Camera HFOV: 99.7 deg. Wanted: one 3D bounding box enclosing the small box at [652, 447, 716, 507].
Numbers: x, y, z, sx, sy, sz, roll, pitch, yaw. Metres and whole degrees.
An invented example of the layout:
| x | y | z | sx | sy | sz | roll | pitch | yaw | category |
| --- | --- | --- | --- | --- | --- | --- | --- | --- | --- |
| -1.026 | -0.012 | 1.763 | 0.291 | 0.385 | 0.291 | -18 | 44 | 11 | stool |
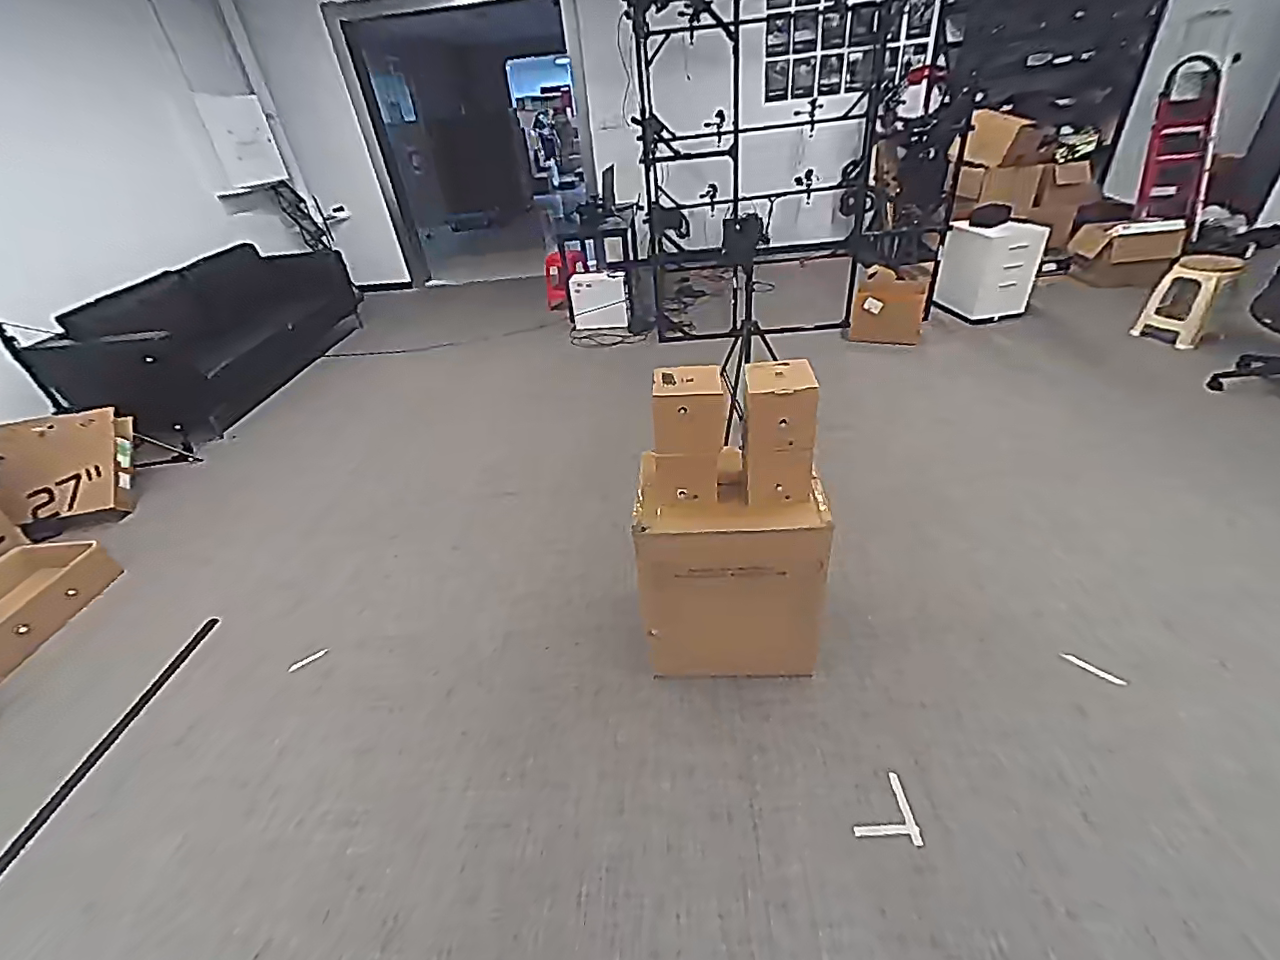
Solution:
| x | y | z | sx | sy | sz | roll | pitch | yaw | category |
| --- | --- | --- | --- | --- | --- | --- | --- | --- | --- |
| 0.125 | -0.043 | 1.520 | 0.168 | 0.176 | 0.179 | -4 | 36 | 5 | small box |

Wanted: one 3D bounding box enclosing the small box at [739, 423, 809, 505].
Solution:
| x | y | z | sx | sy | sz | roll | pitch | yaw | category |
| --- | --- | --- | --- | --- | --- | --- | --- | --- | --- |
| 0.361 | -0.050 | 1.485 | 0.168 | 0.176 | 0.179 | -4 | 35 | 7 | small box |

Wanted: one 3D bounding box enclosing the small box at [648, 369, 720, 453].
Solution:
| x | y | z | sx | sy | sz | roll | pitch | yaw | category |
| --- | --- | --- | --- | --- | --- | --- | --- | --- | --- |
| 0.118 | -0.181 | 1.430 | 0.179 | 0.176 | 0.168 | -2 | 35 | 5 | small box |

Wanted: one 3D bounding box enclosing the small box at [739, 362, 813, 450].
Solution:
| x | y | z | sx | sy | sz | roll | pitch | yaw | category |
| --- | --- | --- | --- | --- | --- | --- | --- | --- | --- |
| 0.346 | -0.186 | 1.394 | 0.168 | 0.176 | 0.179 | -4 | 35 | 7 | small box |
